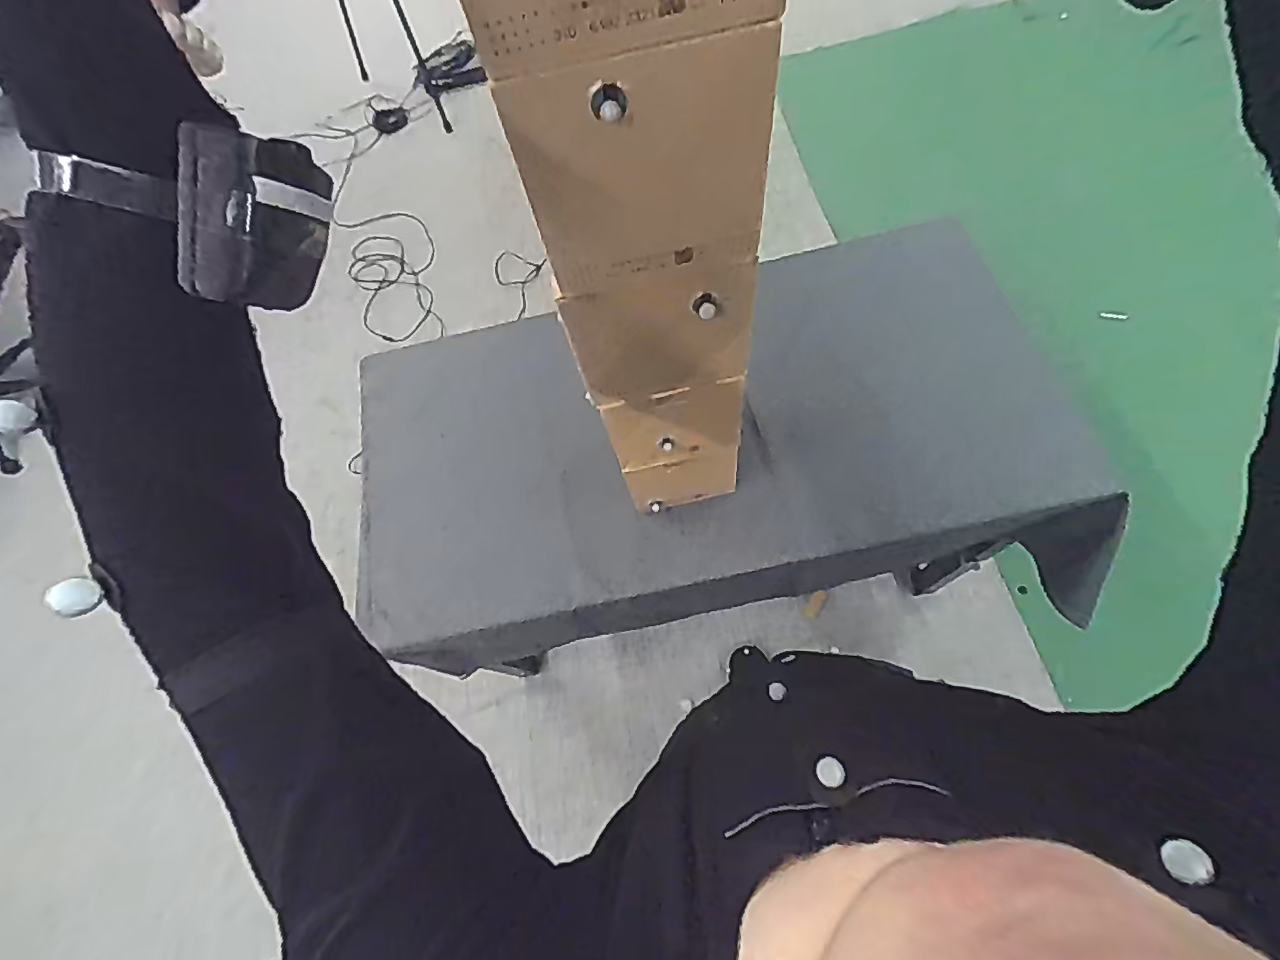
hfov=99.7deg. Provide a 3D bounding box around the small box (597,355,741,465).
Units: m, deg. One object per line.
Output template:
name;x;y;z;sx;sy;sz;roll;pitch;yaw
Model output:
small box;0.028;-0.144;0.707;0.168;0.176;0.179;-12;65;3

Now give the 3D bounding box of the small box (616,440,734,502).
small box;0.050;-0.077;0.853;0.168;0.176;0.179;-13;64;3

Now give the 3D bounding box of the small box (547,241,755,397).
small box;0.009;-0.209;0.557;0.179;0.176;0.168;-11;65;3

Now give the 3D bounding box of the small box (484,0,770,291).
small box;-0.008;-0.277;0.410;0.168;0.176;0.179;-10;65;3
